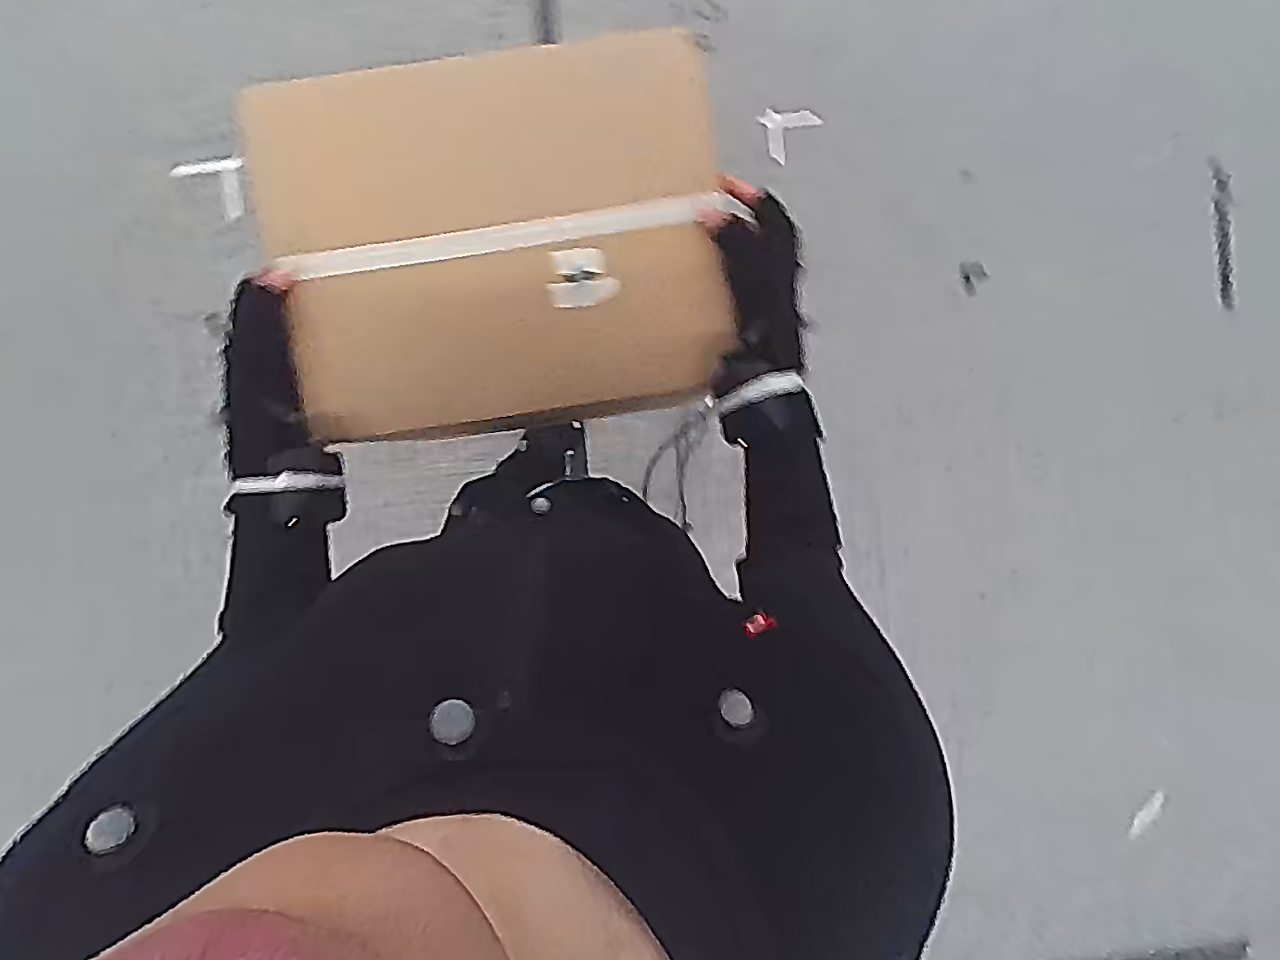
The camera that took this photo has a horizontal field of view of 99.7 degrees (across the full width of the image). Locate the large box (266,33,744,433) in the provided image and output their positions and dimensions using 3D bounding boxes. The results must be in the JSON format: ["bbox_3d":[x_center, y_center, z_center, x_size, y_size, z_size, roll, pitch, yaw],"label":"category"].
[{"bbox_3d":[-0.125,-0.238,0.645,0.408,0.320,0.320,-8,96,-2],"label":"large box"}]
